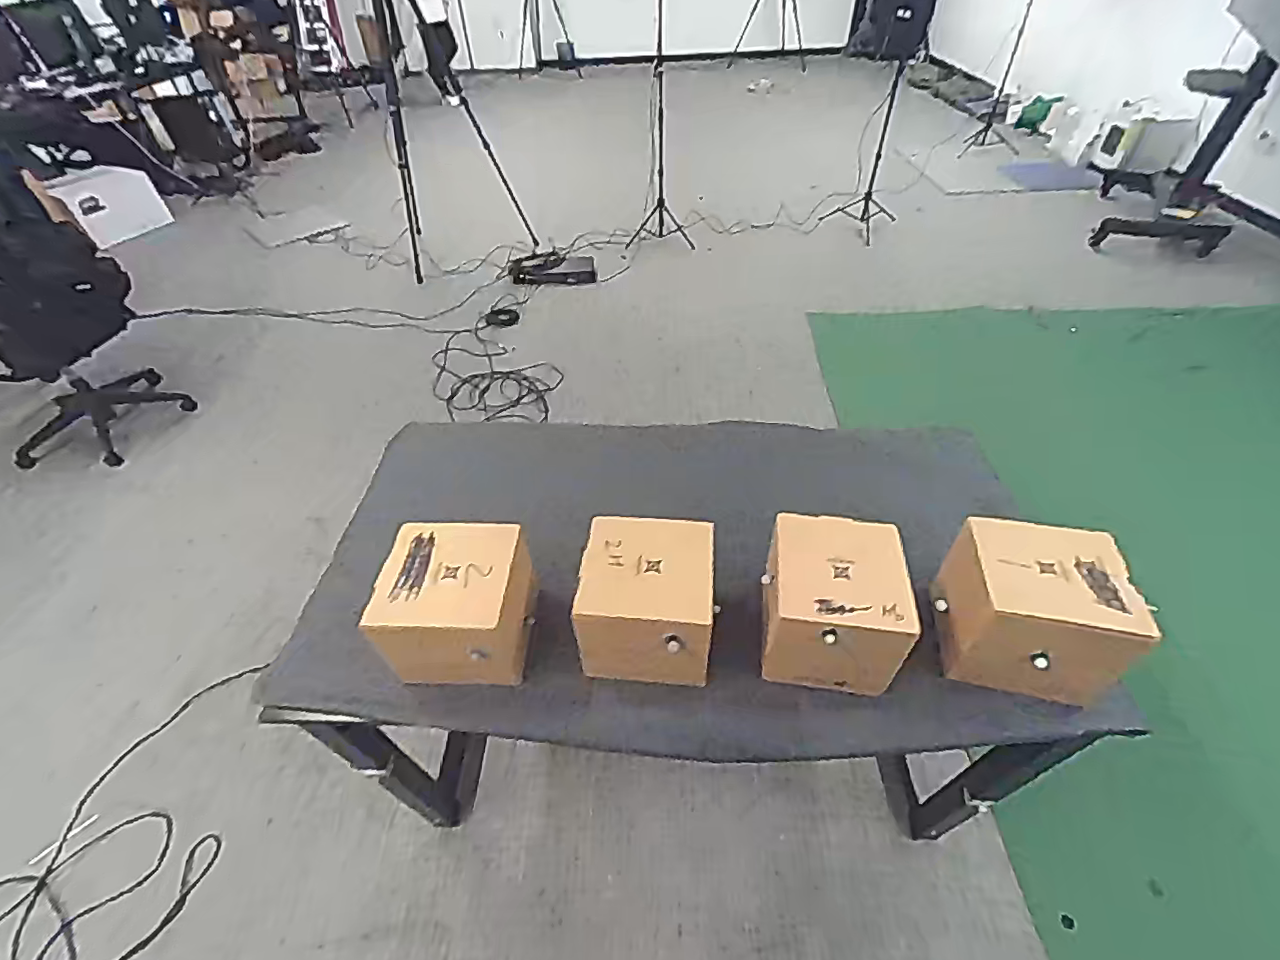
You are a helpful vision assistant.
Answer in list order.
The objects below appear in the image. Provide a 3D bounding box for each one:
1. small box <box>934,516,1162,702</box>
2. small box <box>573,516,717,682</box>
[{"bbox_3d":[0.526,0.176,0.732,0.179,0.176,0.168,8,43,13],"label":"small box"},{"bbox_3d":[0.016,0.171,0.771,0.179,0.176,0.168,2,44,7],"label":"small box"}]
